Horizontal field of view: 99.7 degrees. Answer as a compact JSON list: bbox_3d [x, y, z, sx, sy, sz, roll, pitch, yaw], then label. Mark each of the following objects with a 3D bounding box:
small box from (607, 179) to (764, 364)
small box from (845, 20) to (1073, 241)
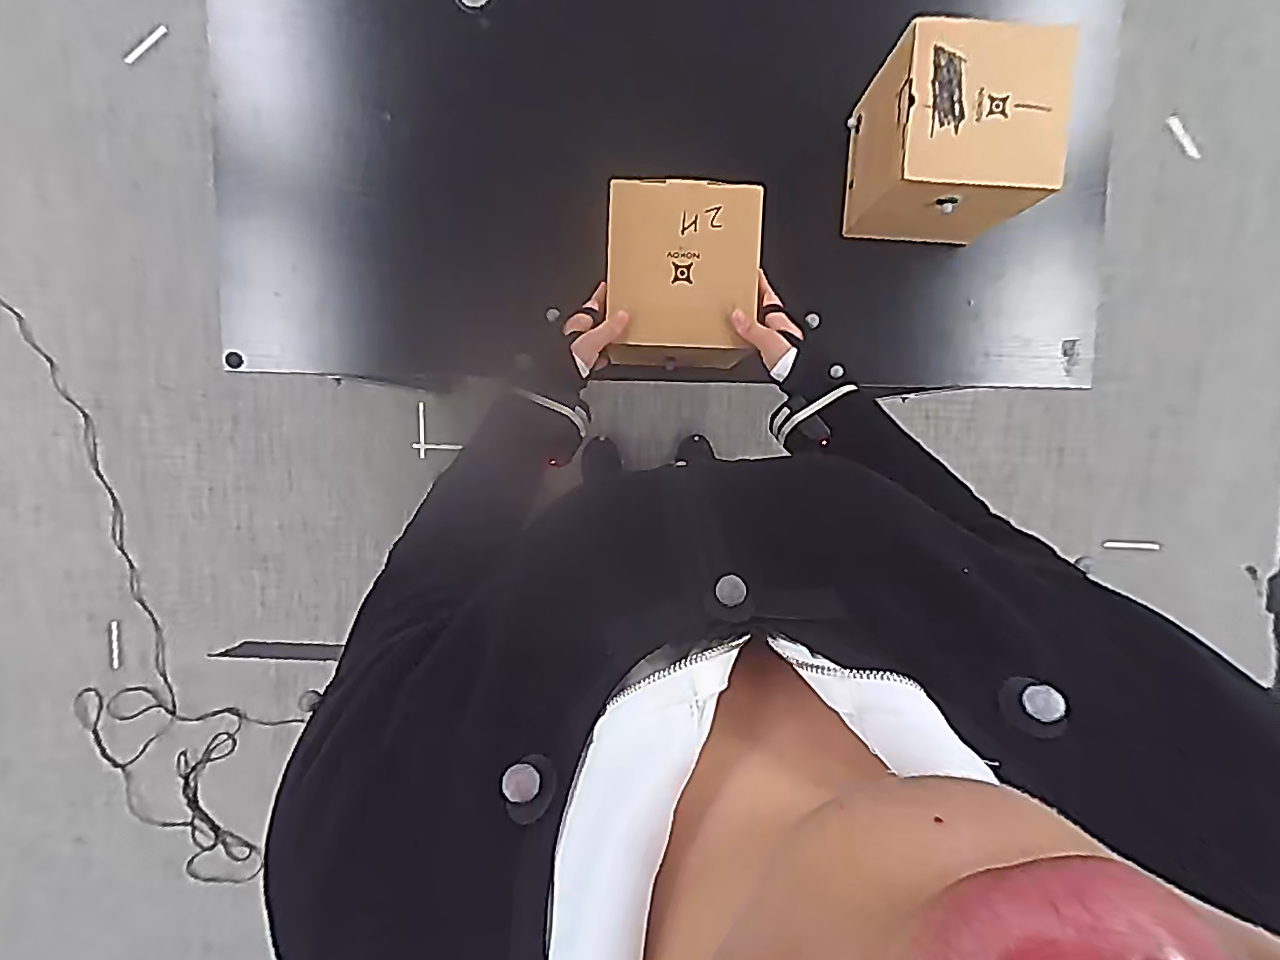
[{"bbox_3d":[0.049,-0.243,0.672,0.168,0.176,0.179,2,95,-1],"label":"small box"},{"bbox_3d":[0.368,-0.406,0.658,0.179,0.176,0.168,3,95,-1],"label":"small box"}]
